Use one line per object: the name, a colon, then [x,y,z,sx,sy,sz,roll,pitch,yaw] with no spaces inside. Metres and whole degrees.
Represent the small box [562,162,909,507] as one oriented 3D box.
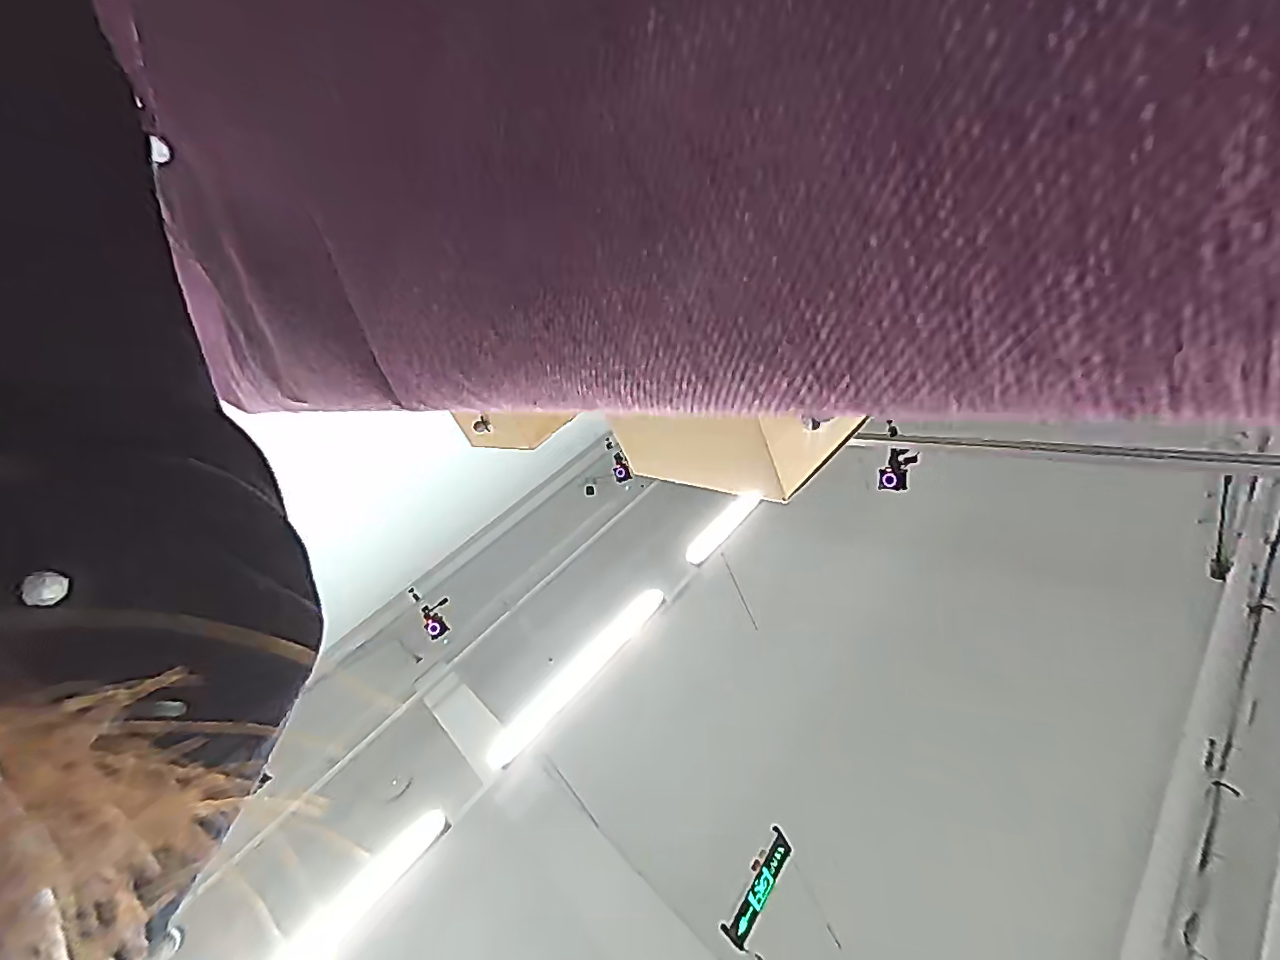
small box: [0.072,-0.107,0.413,0.179,0.176,0.168,-41,-150,-26]
